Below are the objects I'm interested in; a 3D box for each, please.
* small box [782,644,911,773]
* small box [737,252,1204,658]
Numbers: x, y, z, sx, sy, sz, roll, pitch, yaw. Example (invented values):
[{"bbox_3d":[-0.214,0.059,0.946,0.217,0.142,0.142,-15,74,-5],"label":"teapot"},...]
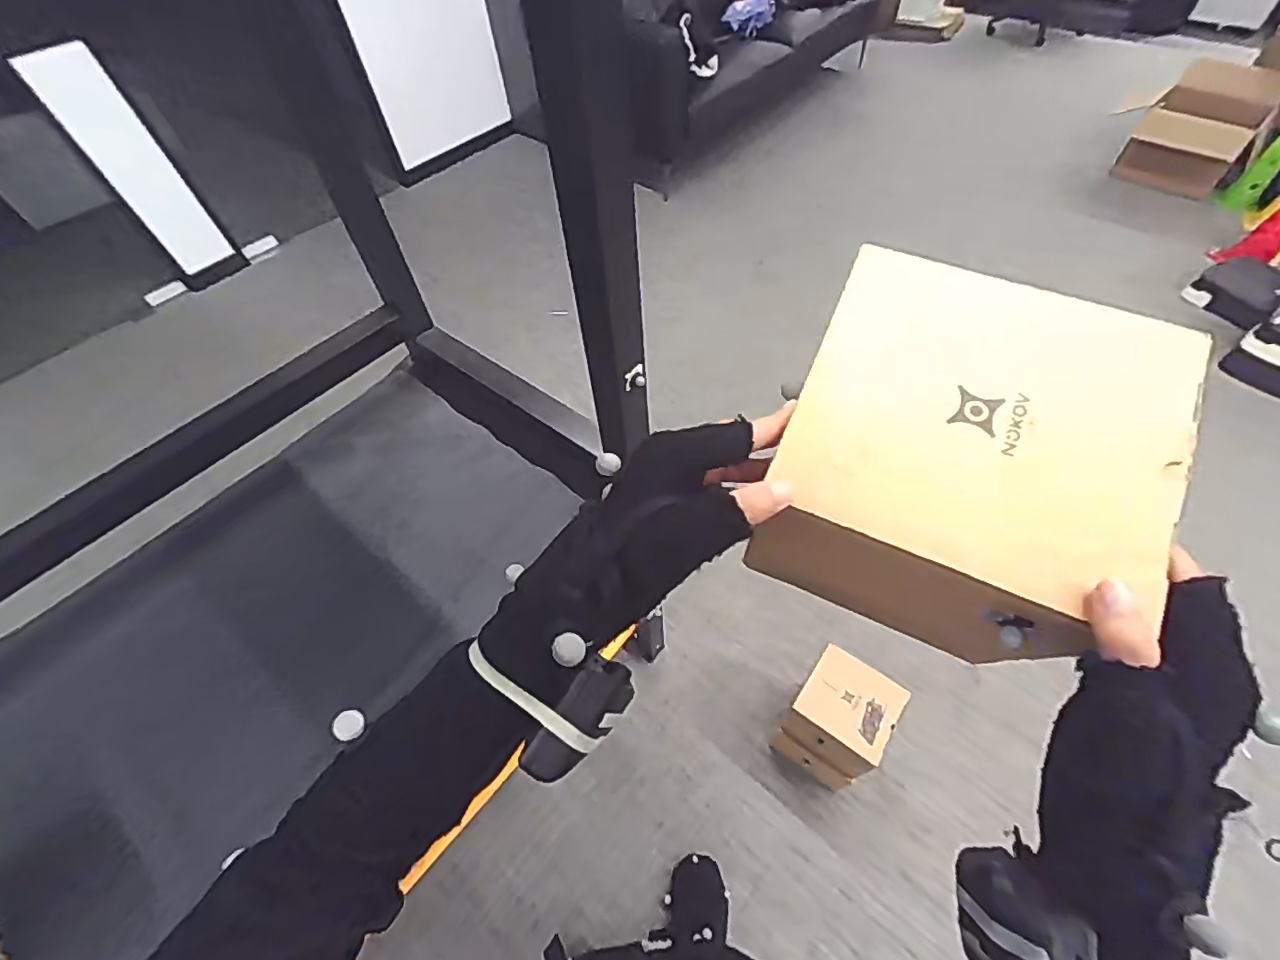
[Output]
[{"bbox_3d":[0.417,0.476,1.114,0.179,0.176,0.168,31,62,24],"label":"small box"},{"bbox_3d":[0.171,0.000,0.339,0.179,0.176,0.168,24,76,13],"label":"small box"}]
